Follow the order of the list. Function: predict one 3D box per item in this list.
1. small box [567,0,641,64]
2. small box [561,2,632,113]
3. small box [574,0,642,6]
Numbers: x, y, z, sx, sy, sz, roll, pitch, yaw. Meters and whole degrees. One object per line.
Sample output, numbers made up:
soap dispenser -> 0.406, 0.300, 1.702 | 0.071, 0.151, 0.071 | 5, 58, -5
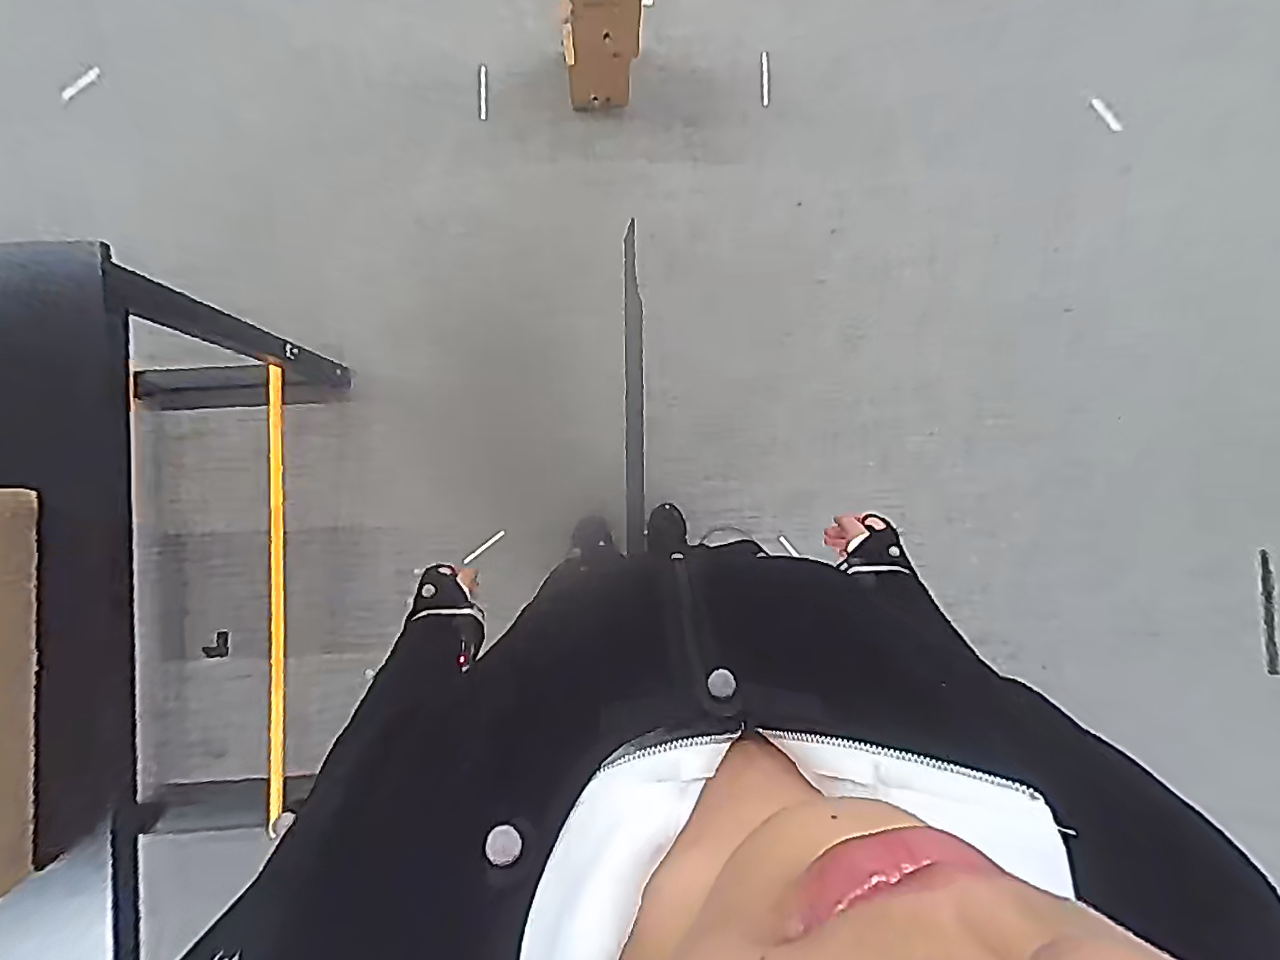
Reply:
small box -> -0.090, -1.135, 1.287 | 0.168, 0.176, 0.179 | -9, 89, -2
small box -> -0.114, -1.131, 1.449 | 0.168, 0.176, 0.179 | -8, 90, -1
small box -> -0.076, -1.143, 1.122 | 0.168, 0.176, 0.179 | -4, 89, -1
